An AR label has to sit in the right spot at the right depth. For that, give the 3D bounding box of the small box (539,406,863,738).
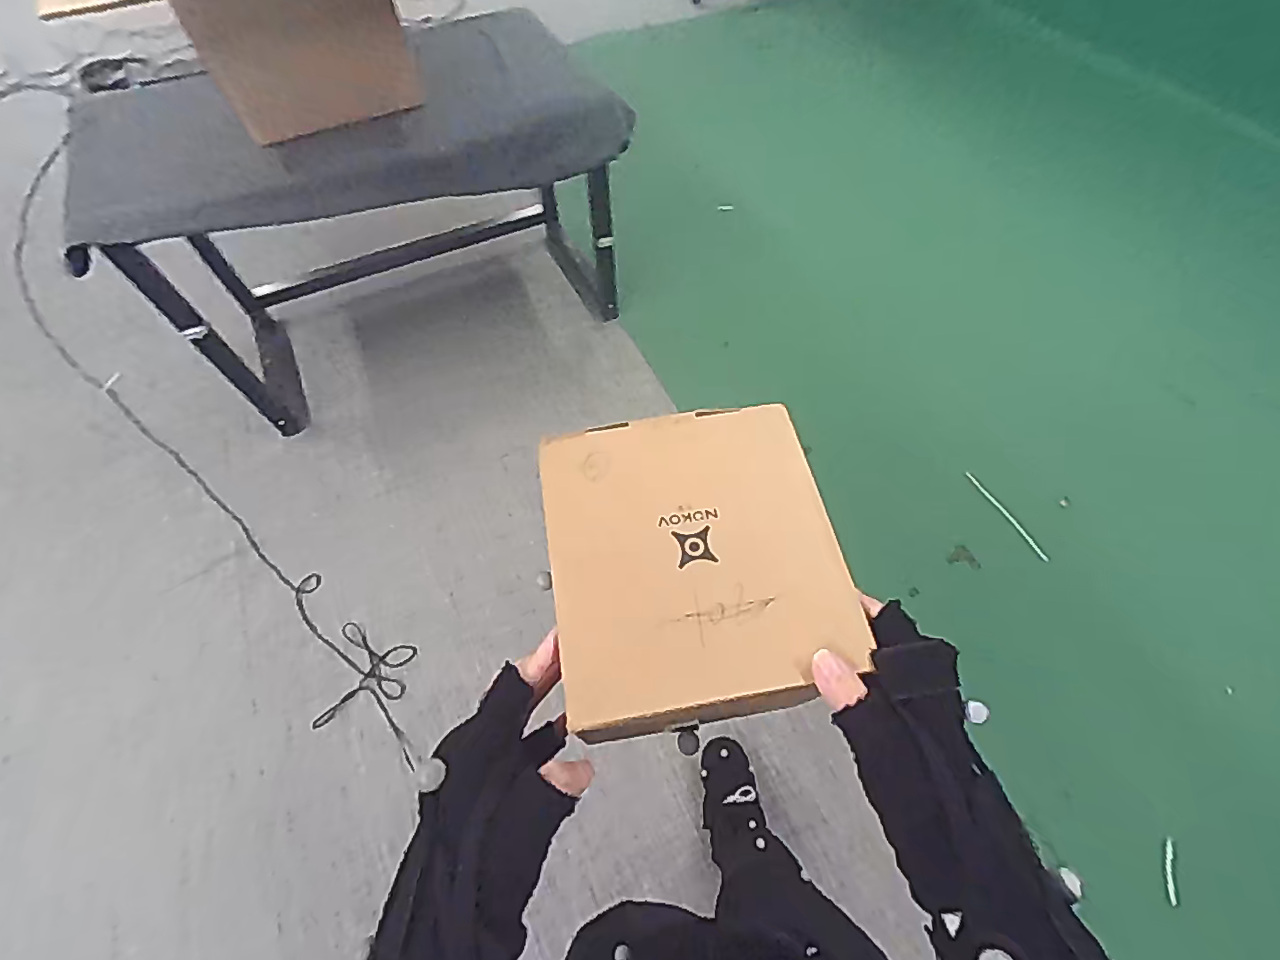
[{"bbox_3d":[0.025,0.073,0.391,0.168,0.176,0.179,-9,61,-5],"label":"small box"}]
